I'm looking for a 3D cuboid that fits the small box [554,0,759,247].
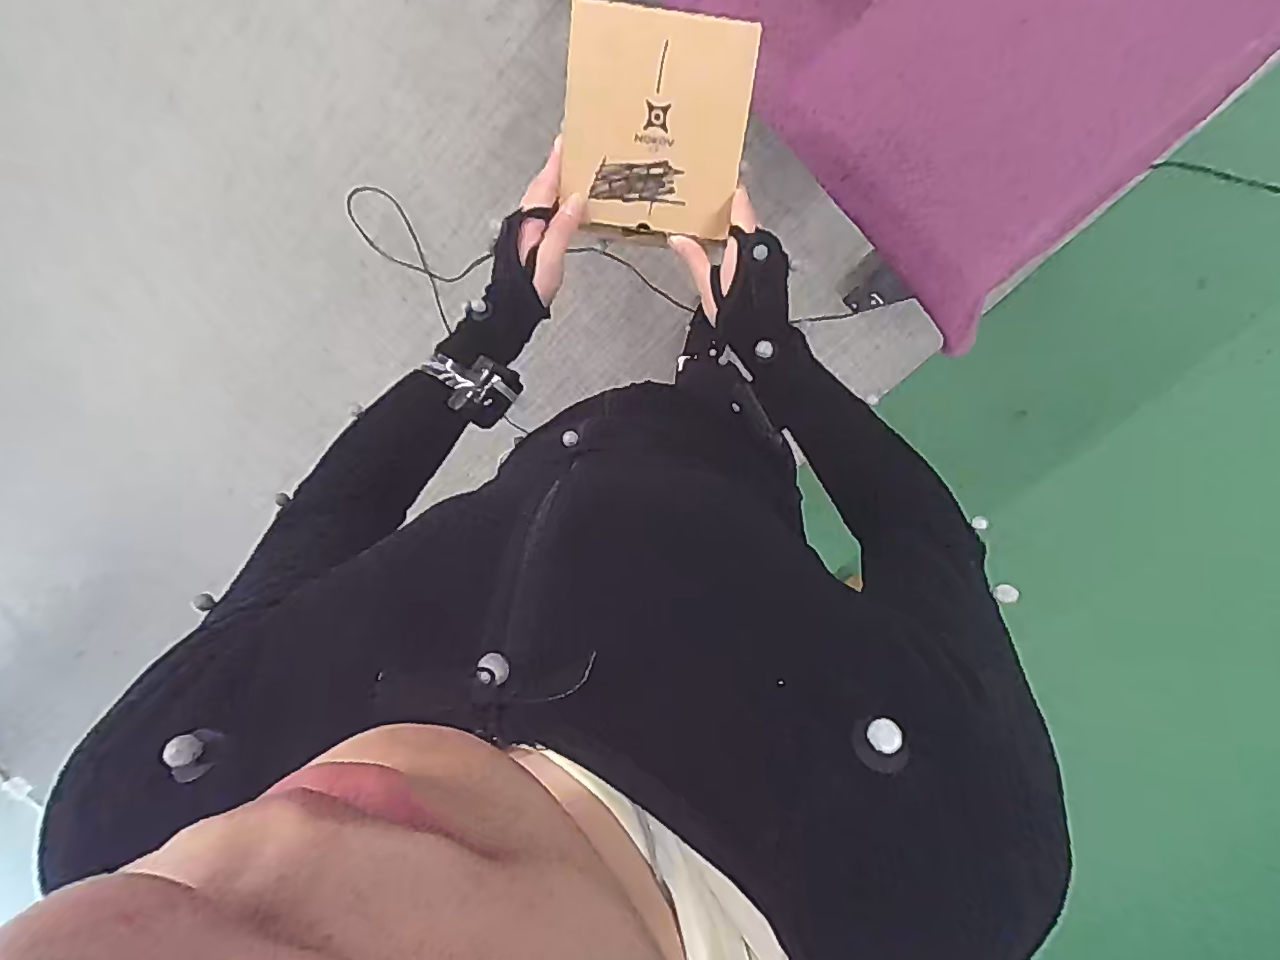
[{"bbox_3d":[0.011,-0.348,0.559,0.168,0.176,0.179,7,108,-3],"label":"small box"}]
